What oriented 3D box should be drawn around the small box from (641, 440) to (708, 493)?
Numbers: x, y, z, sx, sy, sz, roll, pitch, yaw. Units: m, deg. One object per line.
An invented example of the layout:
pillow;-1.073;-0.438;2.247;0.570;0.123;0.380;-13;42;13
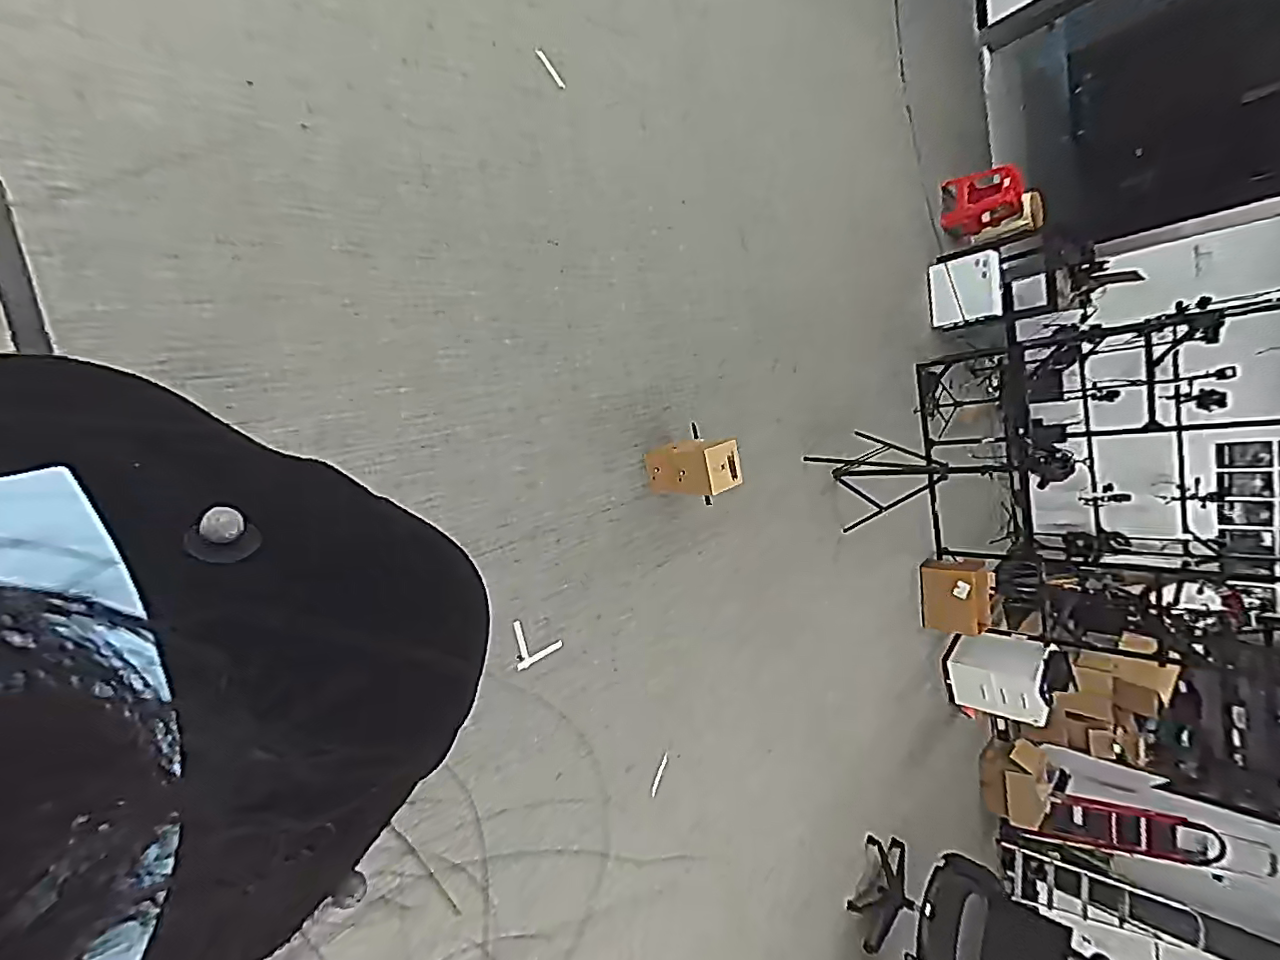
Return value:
small box;0.134;-0.053;2.106;0.179;0.176;0.168;-24;105;-40
